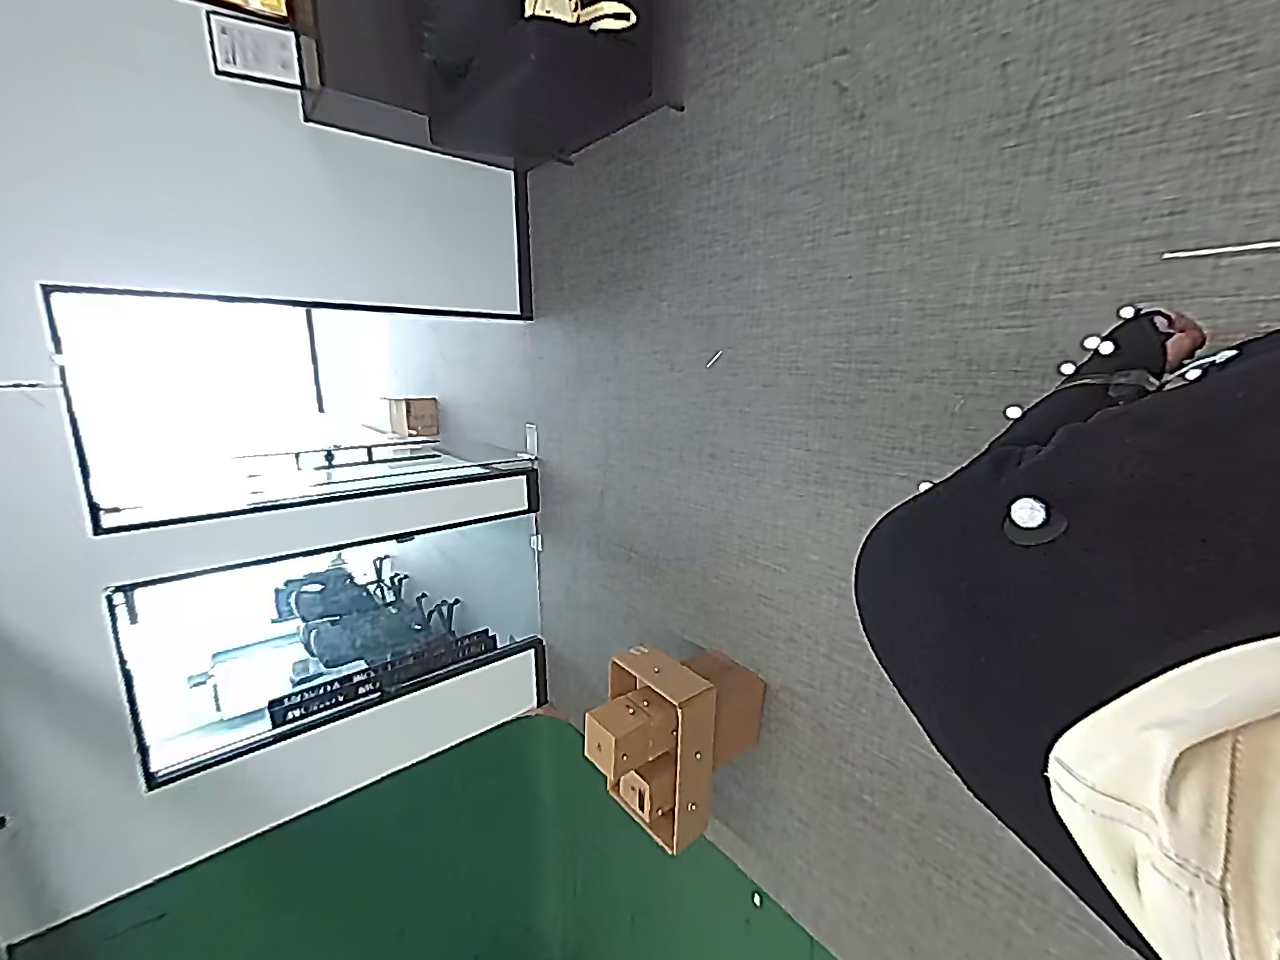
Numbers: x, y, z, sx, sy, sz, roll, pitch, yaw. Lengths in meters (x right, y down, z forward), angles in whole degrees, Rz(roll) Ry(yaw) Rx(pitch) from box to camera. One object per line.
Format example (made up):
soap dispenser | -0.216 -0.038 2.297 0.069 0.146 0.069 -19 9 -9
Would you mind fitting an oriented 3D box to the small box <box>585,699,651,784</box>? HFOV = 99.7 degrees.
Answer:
small box | -0.077 0.906 1.889 0.168 0.176 0.179 17 110 46
